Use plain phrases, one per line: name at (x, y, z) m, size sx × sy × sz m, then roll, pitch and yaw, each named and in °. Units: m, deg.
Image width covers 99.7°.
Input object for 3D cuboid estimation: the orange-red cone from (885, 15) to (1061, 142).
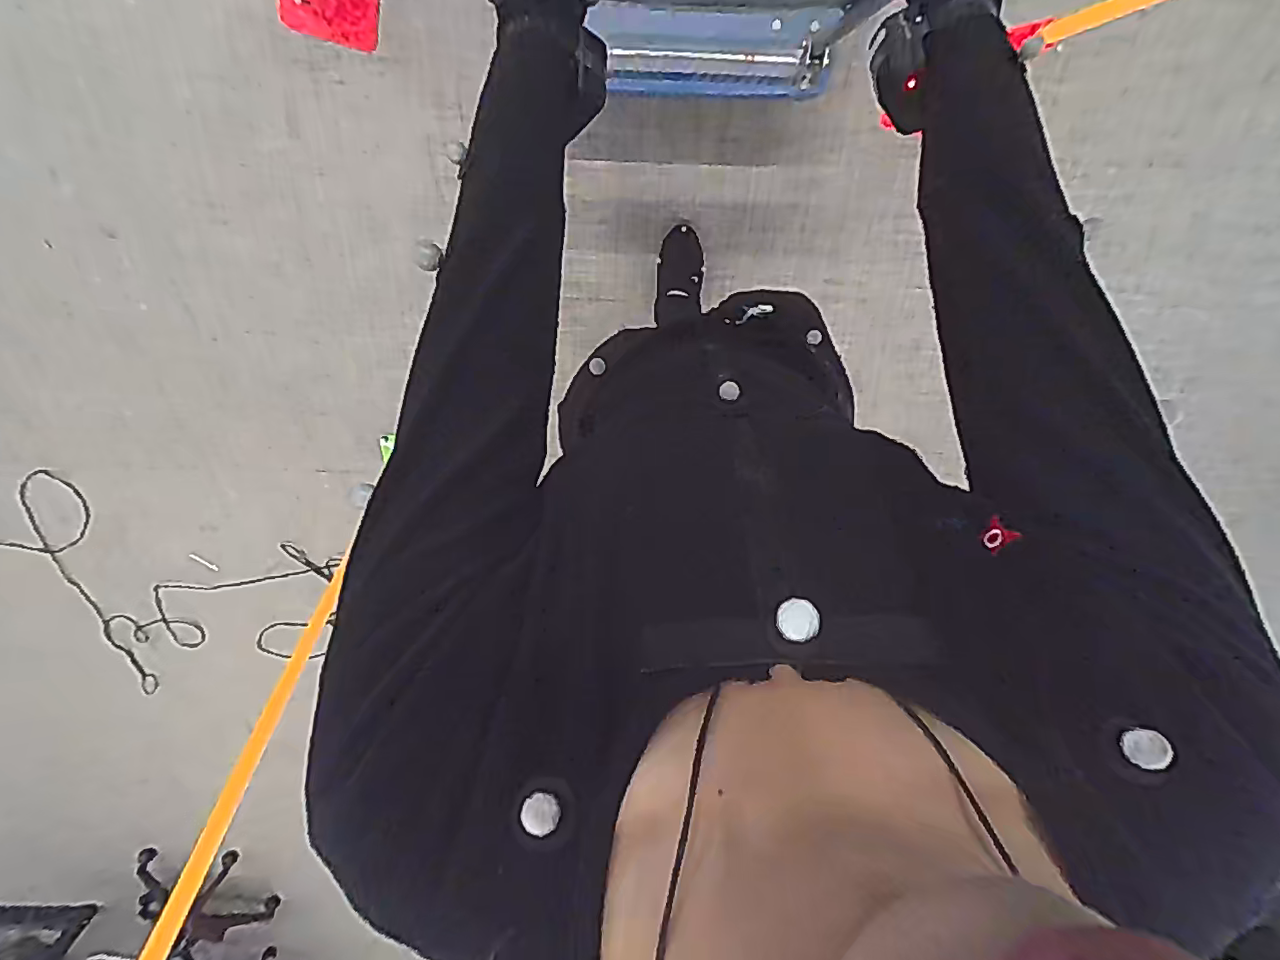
orange-red cone at (0.645, -0.779, 1.004) m, size 0.198 × 0.360 × 0.199 m, roll 12°, pitch 116°, yaw -5°
